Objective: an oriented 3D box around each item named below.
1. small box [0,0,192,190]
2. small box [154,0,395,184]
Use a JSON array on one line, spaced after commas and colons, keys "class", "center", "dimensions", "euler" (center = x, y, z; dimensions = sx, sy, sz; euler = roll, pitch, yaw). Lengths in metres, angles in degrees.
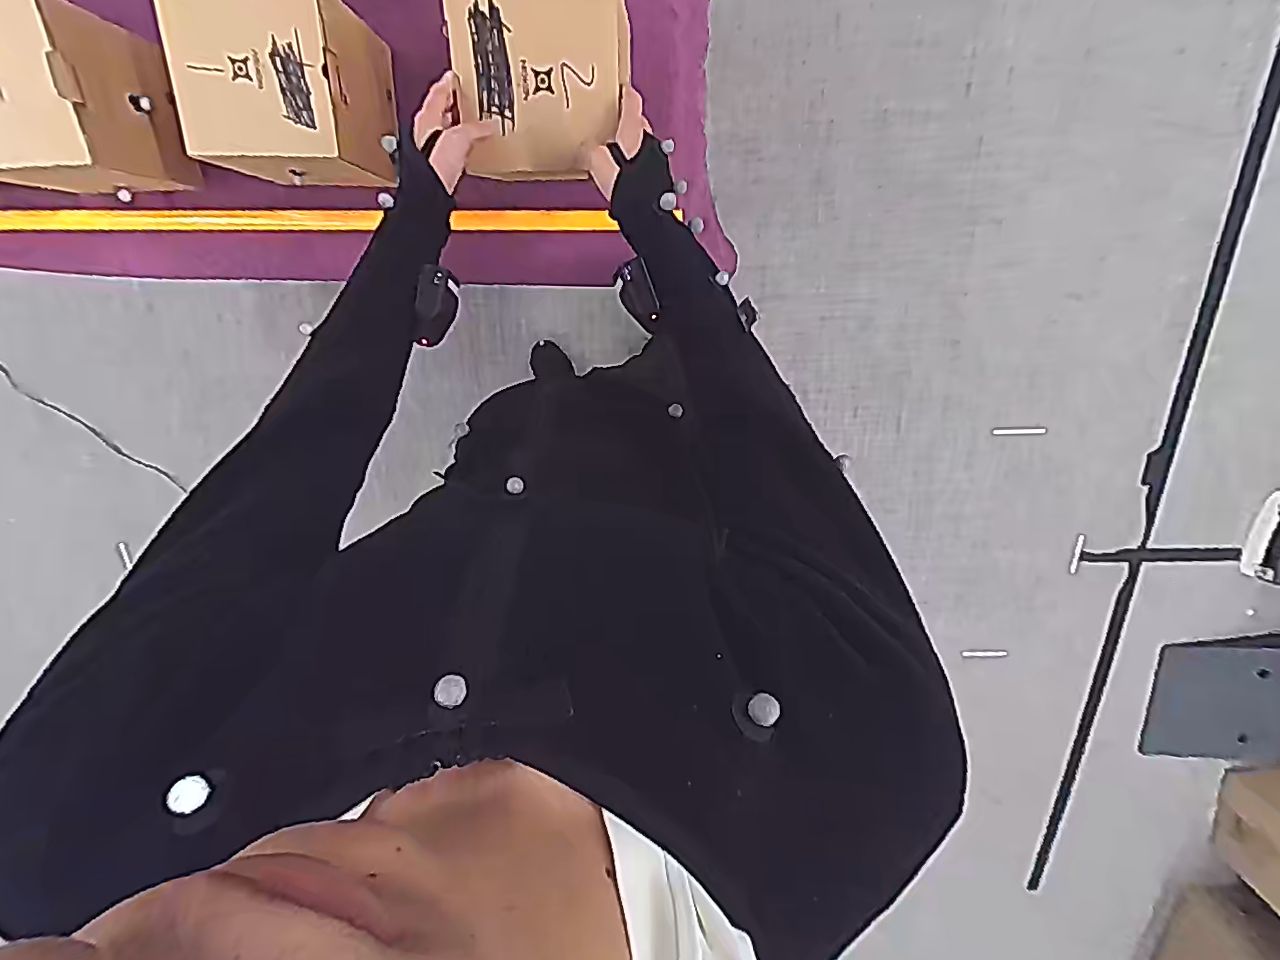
[{"class": "small box", "center": [-0.700, -0.460, 0.659], "dimensions": [0.179, 0.176, 0.168], "euler": [-2, 110, 1]}, {"class": "small box", "center": [-0.415, -0.466, 0.651], "dimensions": [0.179, 0.176, 0.168], "euler": [2, 109, 1]}]
